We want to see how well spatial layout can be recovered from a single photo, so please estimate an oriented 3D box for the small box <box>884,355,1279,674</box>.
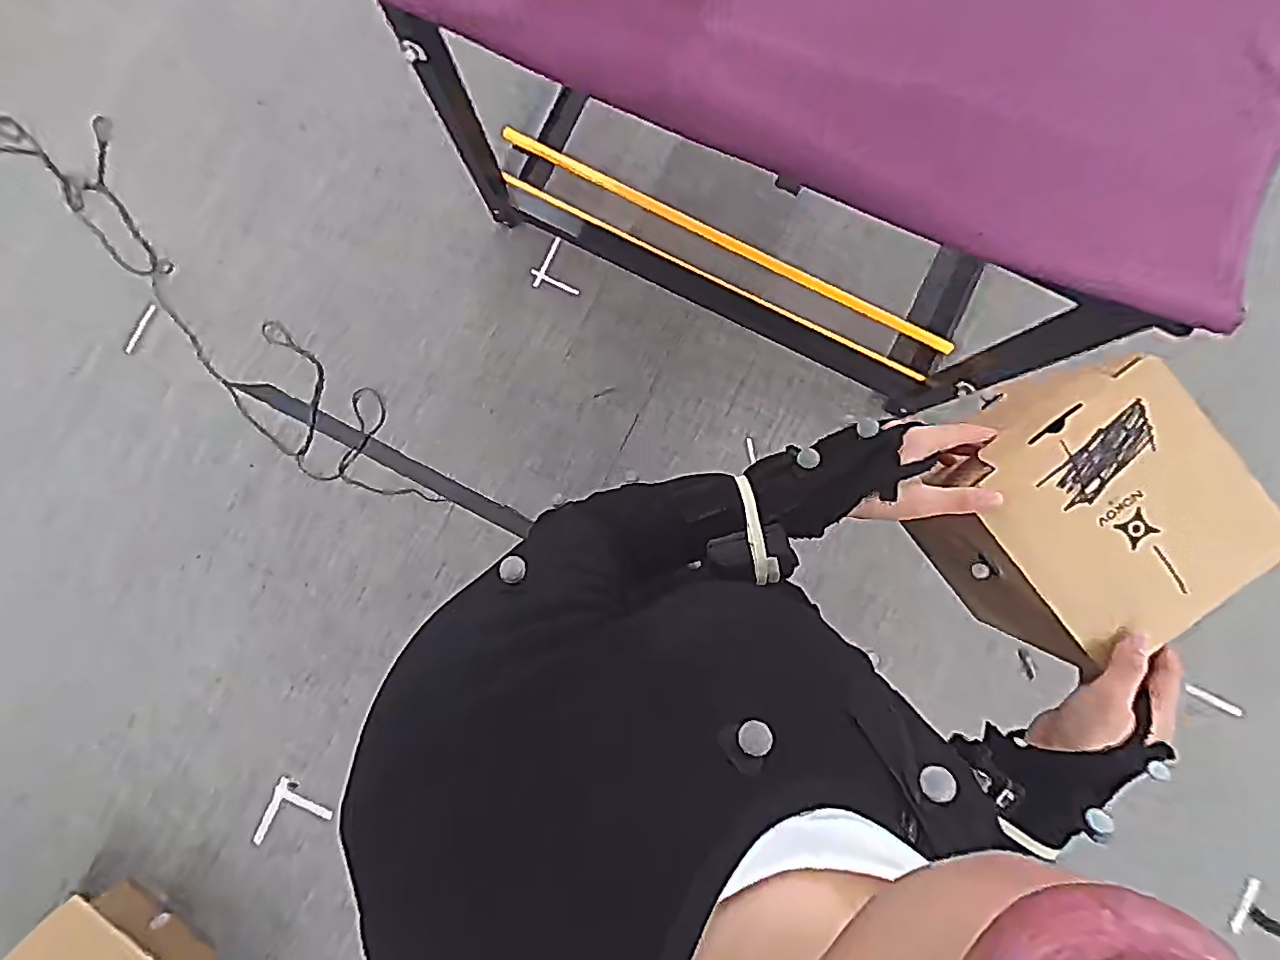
[{"bbox_3d":[0.351,0.024,0.467,0.168,0.176,0.179,-37,90,3],"label":"small box"}]
